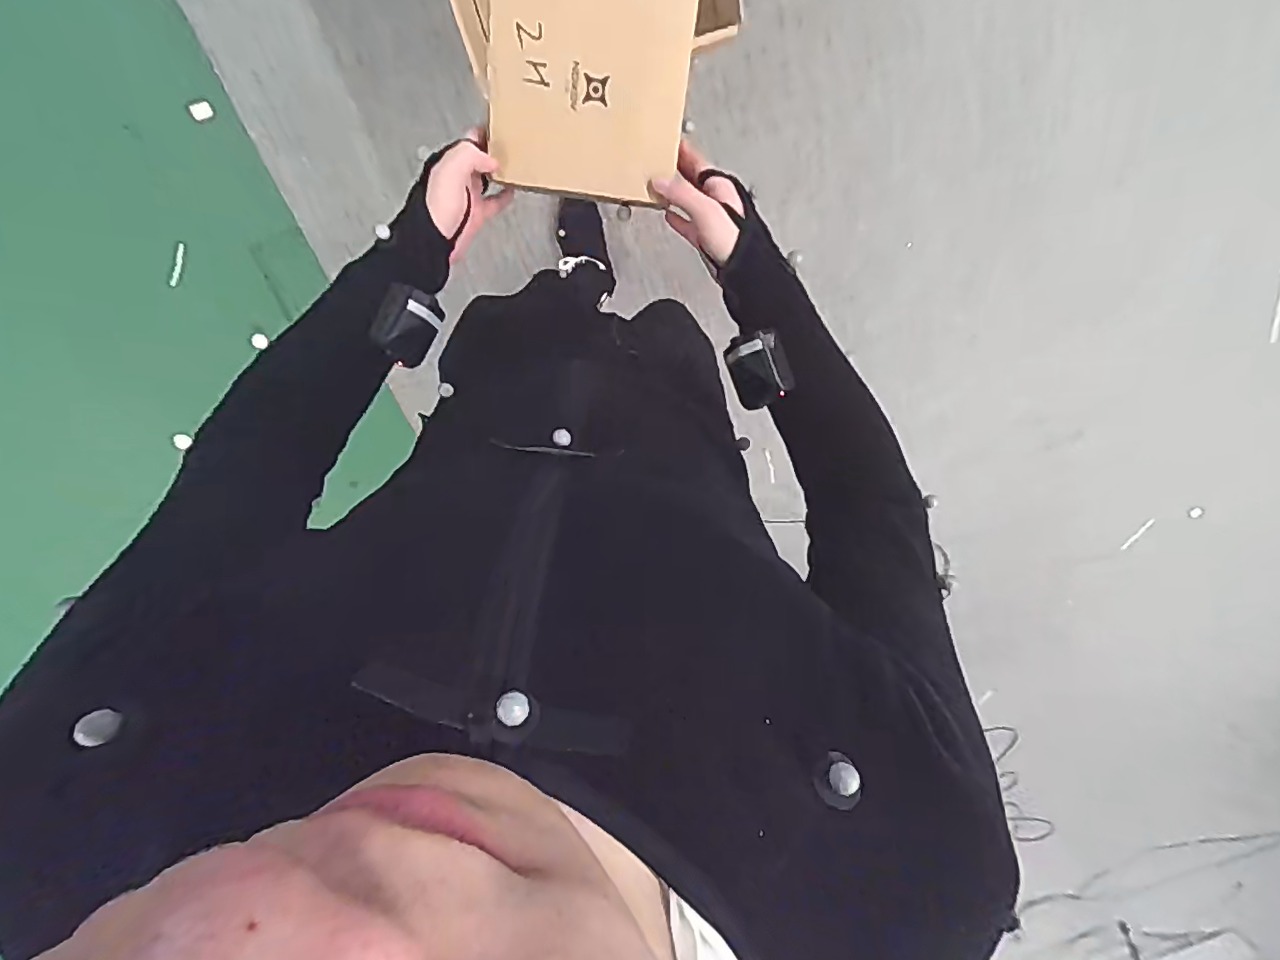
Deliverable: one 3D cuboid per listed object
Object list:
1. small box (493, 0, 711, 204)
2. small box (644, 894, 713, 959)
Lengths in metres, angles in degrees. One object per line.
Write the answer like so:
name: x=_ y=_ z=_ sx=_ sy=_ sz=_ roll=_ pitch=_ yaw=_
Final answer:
small box: x=-0.038 y=-0.379 z=0.538 sx=0.179 sy=0.176 sz=0.168 roll=7 pitch=115 yaw=-3
small box: x=0.110 y=1.330 z=1.546 sx=0.179 sy=0.176 sz=0.168 roll=-14 pitch=118 yaw=2
